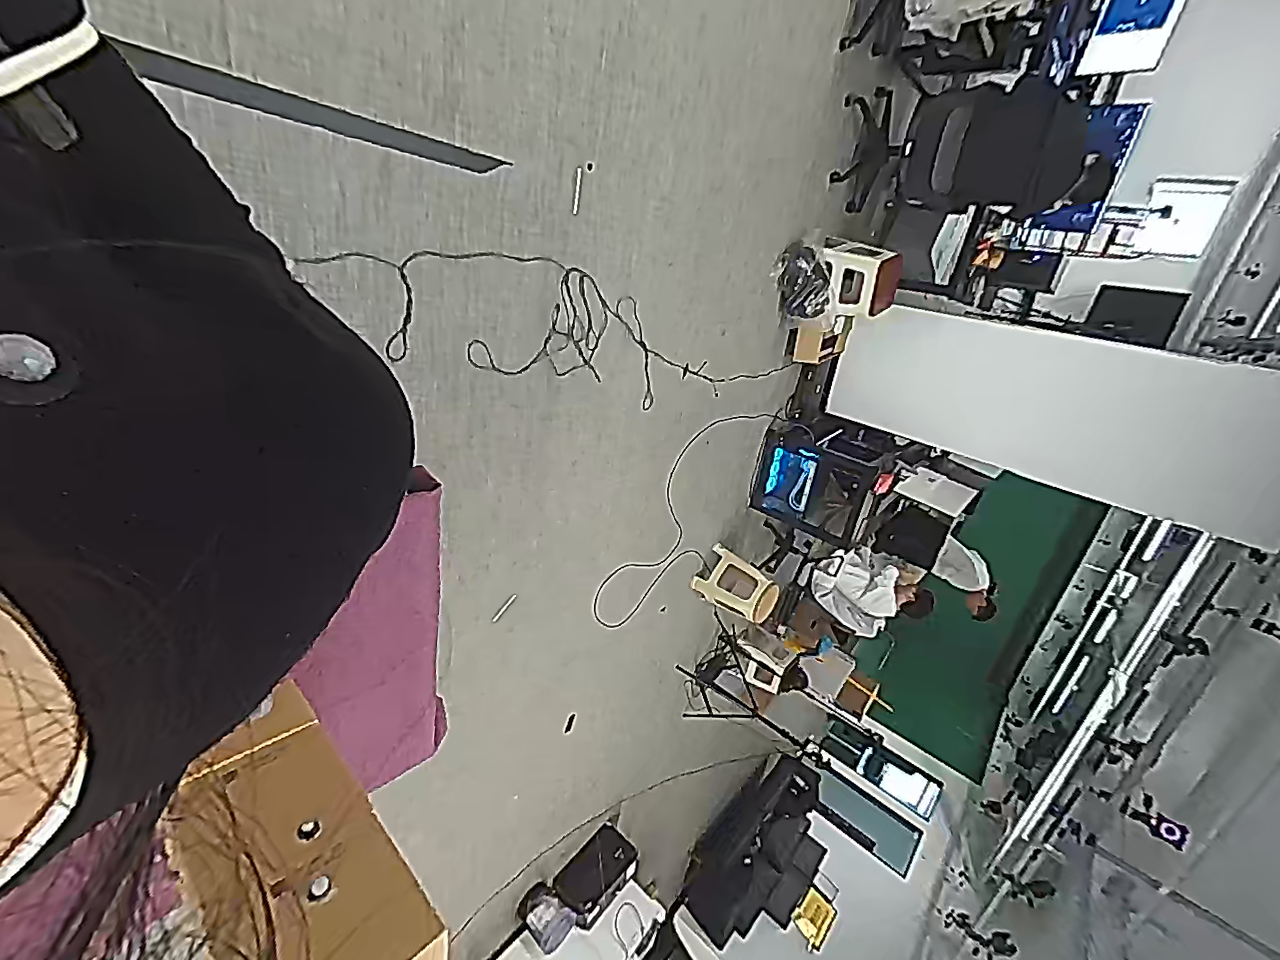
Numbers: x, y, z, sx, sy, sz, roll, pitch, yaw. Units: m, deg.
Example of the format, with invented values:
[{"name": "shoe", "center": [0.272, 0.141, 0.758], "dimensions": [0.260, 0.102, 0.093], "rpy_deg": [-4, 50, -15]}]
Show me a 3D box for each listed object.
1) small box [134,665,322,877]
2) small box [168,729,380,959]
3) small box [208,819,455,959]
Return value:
[{"name": "small box", "center": [-0.556, 0.382, 0.739], "dimensions": [0.168, 0.176, 0.179], "rpy_deg": [-15, 123, -48]}, {"name": "small box", "center": [-0.434, 0.447, 0.650], "dimensions": [0.168, 0.176, 0.179], "rpy_deg": [-16, 125, -48]}, {"name": "small box", "center": [-0.313, 0.505, 0.554], "dimensions": [0.168, 0.176, 0.179], "rpy_deg": [-15, 122, -48]}]
